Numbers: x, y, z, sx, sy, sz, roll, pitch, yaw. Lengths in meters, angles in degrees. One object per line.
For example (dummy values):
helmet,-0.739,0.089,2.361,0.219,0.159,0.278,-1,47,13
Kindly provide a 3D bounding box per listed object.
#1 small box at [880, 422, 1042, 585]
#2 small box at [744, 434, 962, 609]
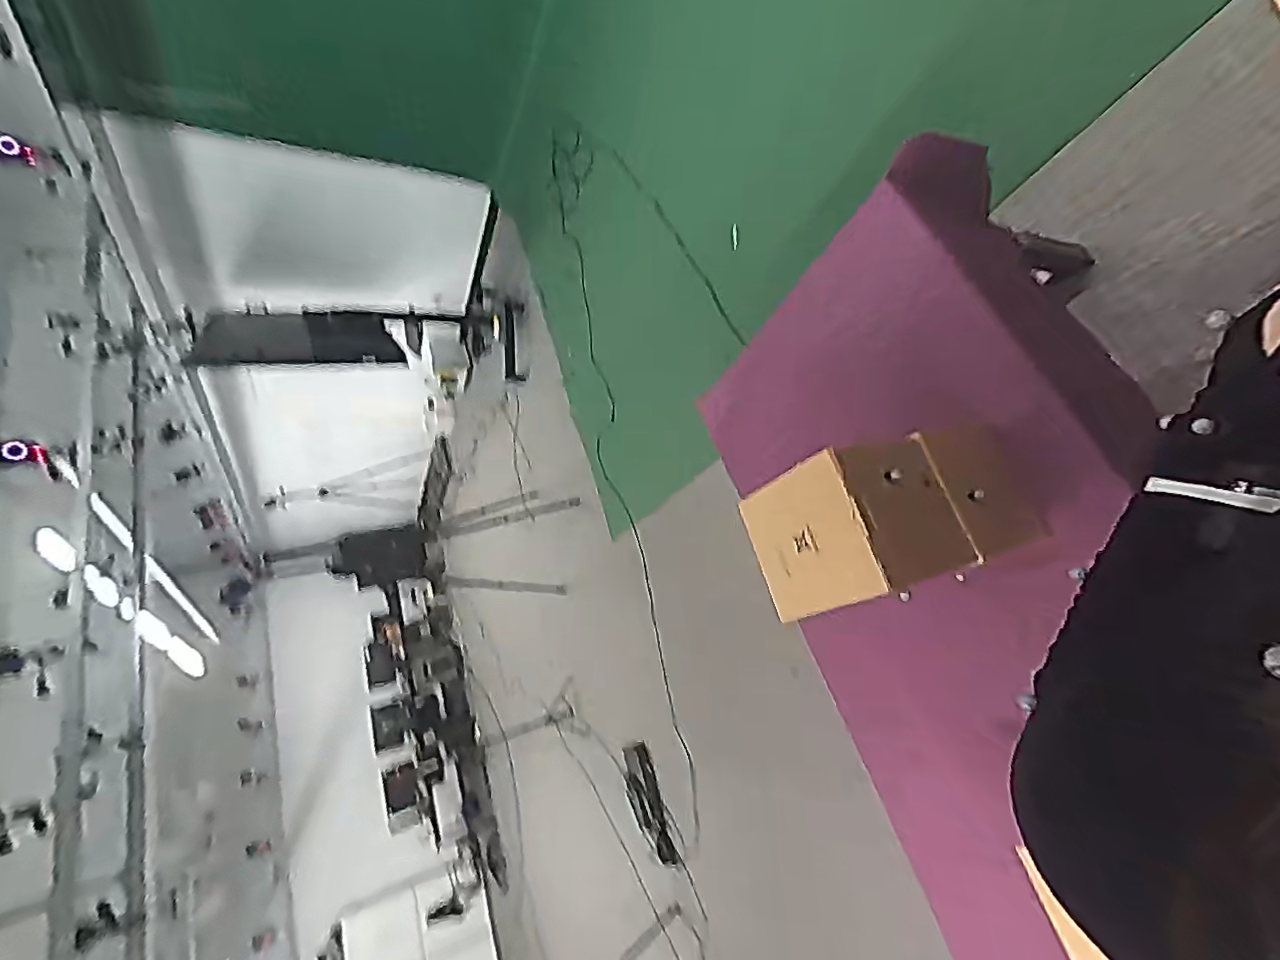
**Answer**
small box,0.415,0.031,0.765,0.168,0.176,0.179,-43,60,54
small box,0.271,0.052,0.691,0.179,0.176,0.168,-43,59,55
